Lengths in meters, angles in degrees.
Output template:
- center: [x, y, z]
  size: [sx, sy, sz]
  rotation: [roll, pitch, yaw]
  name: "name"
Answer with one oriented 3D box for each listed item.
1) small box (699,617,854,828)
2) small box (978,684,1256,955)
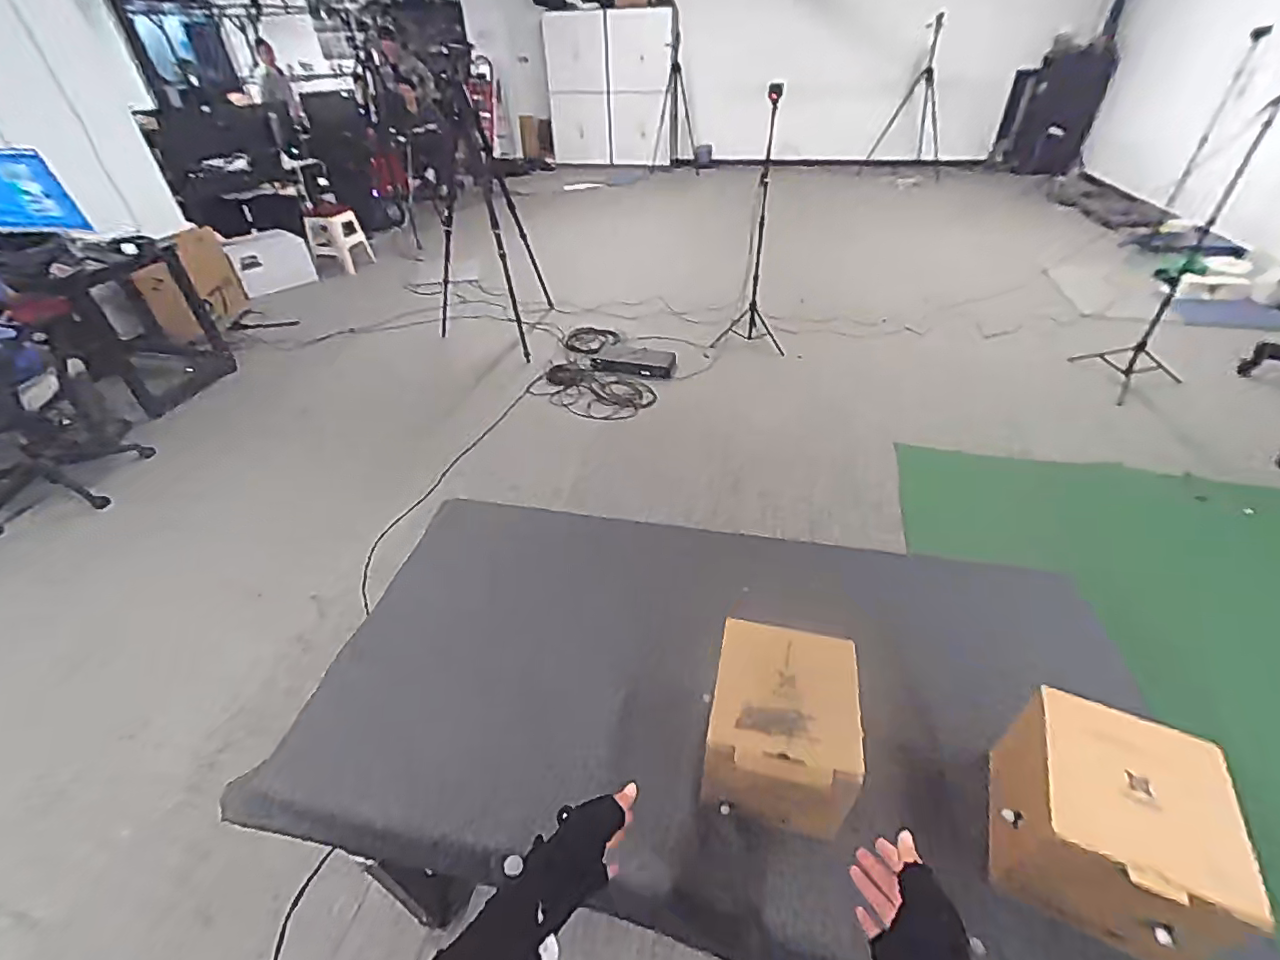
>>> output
- center: [0.170, 0.309, 0.694]
  size: [0.168, 0.176, 0.179]
  rotation: [8, 39, 12]
  name: "small box"
- center: [0.499, 0.374, 0.602]
  size: [0.168, 0.176, 0.179]
  rotation: [17, 41, 20]
  name: "small box"
